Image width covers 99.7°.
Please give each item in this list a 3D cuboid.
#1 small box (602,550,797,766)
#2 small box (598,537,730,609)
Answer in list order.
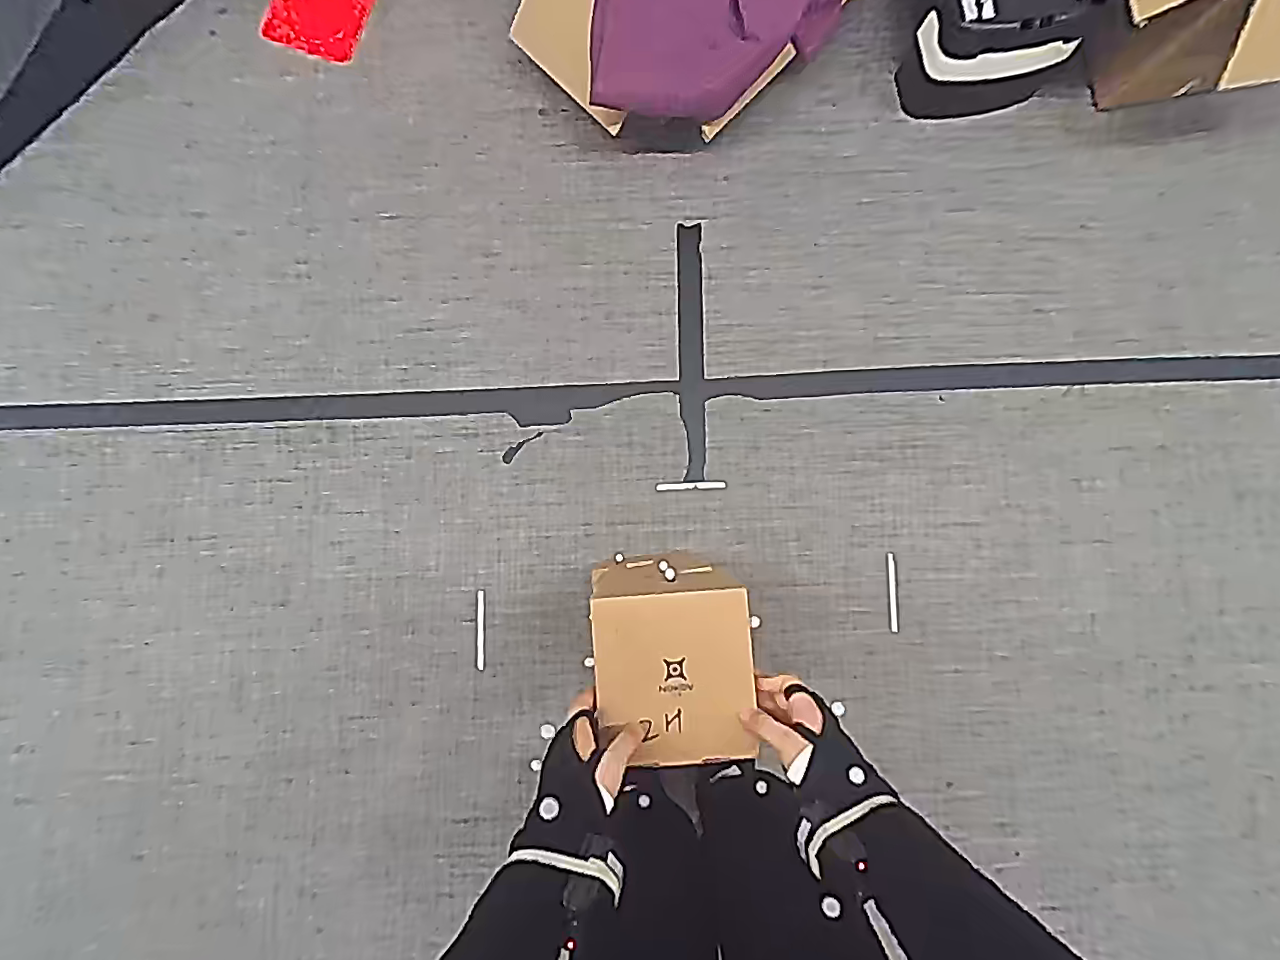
[{"bbox_3d":[0.051,0.165,0.557,0.168,0.176,0.179,-4,87,1],"label":"small box"},{"bbox_3d":[0.042,0.178,0.724,0.168,0.176,0.179,-9,87,-1],"label":"small box"}]
